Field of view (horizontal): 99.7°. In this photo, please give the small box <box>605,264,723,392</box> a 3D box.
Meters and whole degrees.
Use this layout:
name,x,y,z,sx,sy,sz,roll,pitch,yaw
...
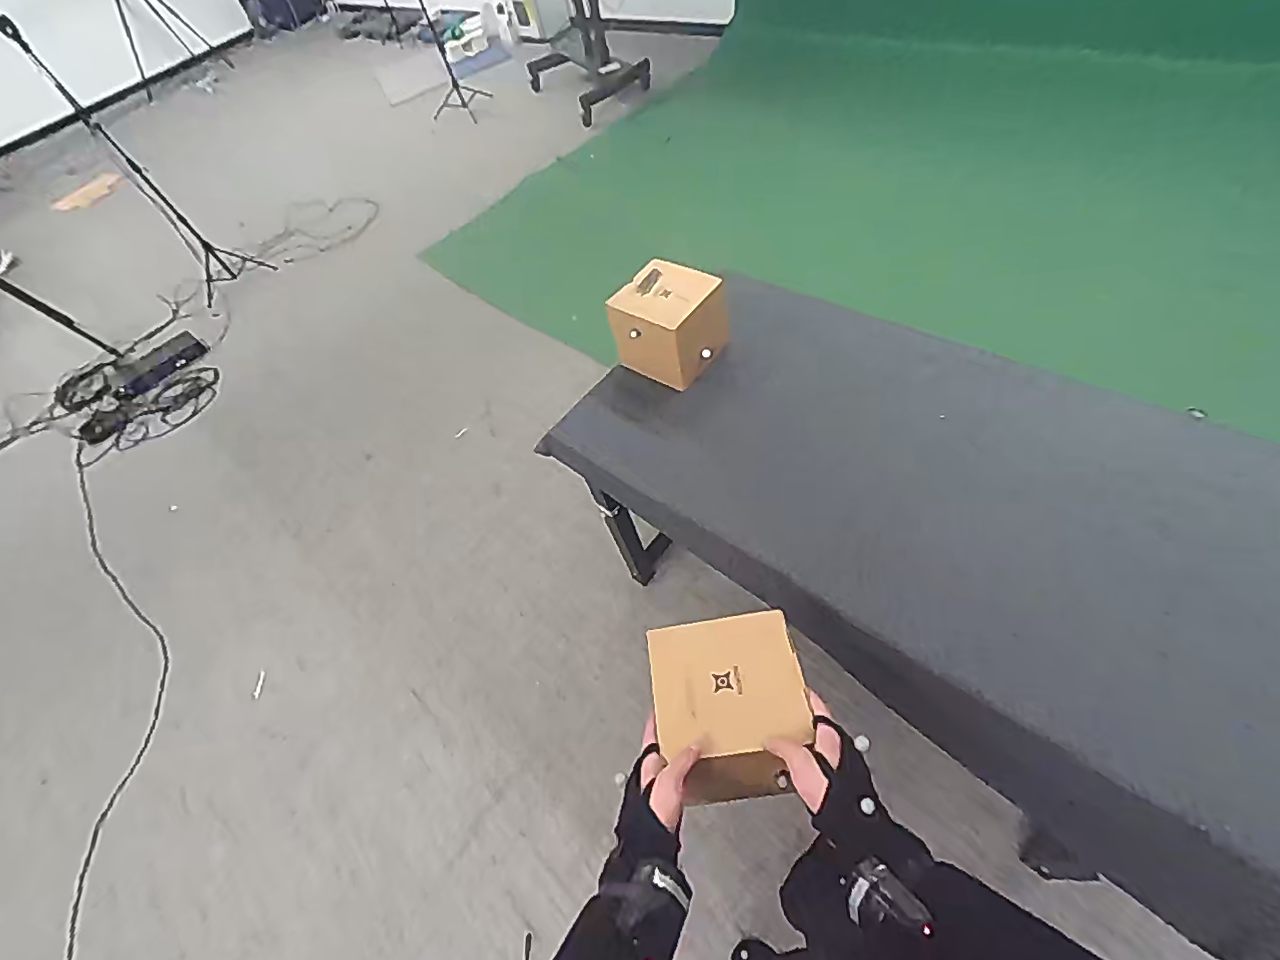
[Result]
name,x,y,z,sx,sy,sz,roll,pitch,yaw
small box,0.055,-0.310,1.118,0.179,0.176,0.168,30,64,27

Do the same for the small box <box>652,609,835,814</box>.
name,x,y,z,sx,sy,sz,roll,pitch,yaw
small box,0.119,0.286,0.666,0.179,0.176,0.168,-11,42,2
